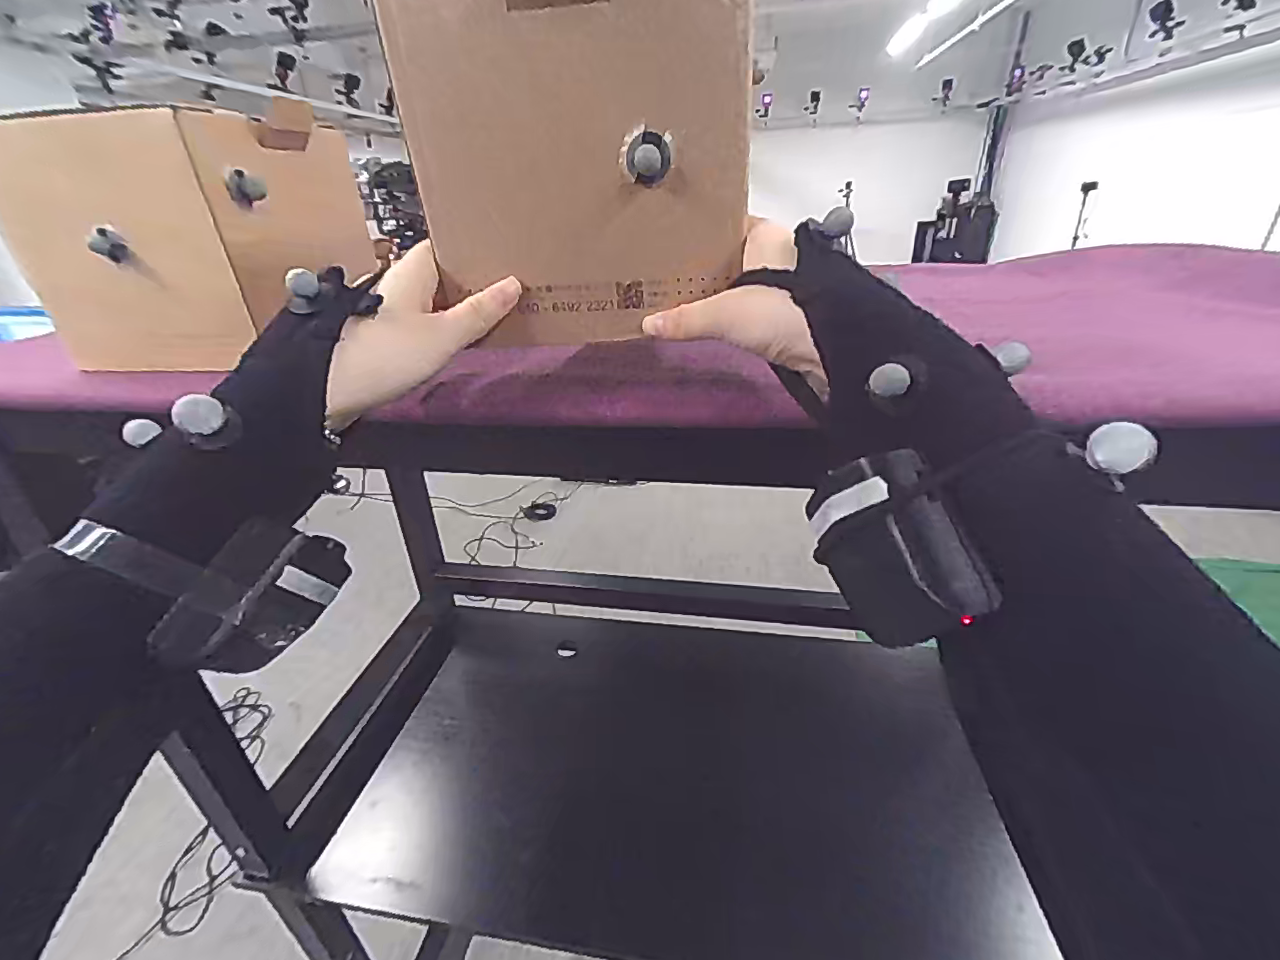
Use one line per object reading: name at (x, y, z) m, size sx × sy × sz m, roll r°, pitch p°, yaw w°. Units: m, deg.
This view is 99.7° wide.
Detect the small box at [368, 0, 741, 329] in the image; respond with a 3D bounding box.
small box at (-0.026, -0.194, 0.333) m, size 0.168 × 0.176 × 0.179 m, roll -1°, pitch 30°, yaw 5°
